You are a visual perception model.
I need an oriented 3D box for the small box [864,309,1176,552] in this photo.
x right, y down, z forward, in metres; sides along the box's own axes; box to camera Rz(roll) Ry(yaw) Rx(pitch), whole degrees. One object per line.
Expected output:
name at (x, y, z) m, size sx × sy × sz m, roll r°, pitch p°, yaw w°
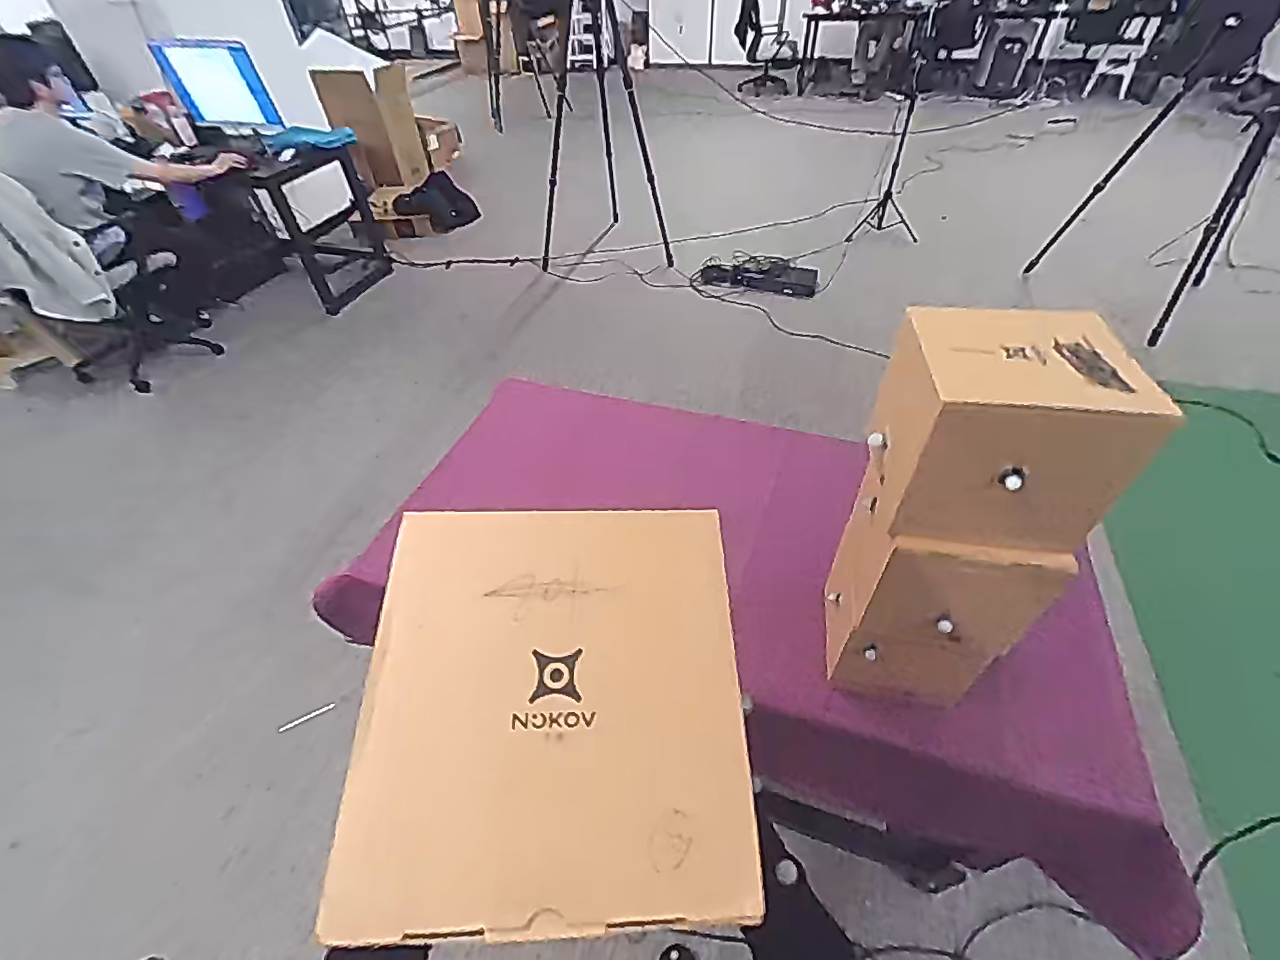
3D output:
small box at (0.336, -0.047, 0.528) m, size 0.179 × 0.176 × 0.168 m, roll 5°, pitch 45°, yaw 9°

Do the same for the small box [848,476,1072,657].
small box at (0.348, 0.078, 0.635) m, size 0.168 × 0.176 × 0.179 m, roll 7°, pitch 46°, yaw 11°

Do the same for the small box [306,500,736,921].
small box at (-0.048, 0.127, 0.313) m, size 0.168 × 0.176 × 0.179 m, roll 1°, pitch 59°, yaw -4°
